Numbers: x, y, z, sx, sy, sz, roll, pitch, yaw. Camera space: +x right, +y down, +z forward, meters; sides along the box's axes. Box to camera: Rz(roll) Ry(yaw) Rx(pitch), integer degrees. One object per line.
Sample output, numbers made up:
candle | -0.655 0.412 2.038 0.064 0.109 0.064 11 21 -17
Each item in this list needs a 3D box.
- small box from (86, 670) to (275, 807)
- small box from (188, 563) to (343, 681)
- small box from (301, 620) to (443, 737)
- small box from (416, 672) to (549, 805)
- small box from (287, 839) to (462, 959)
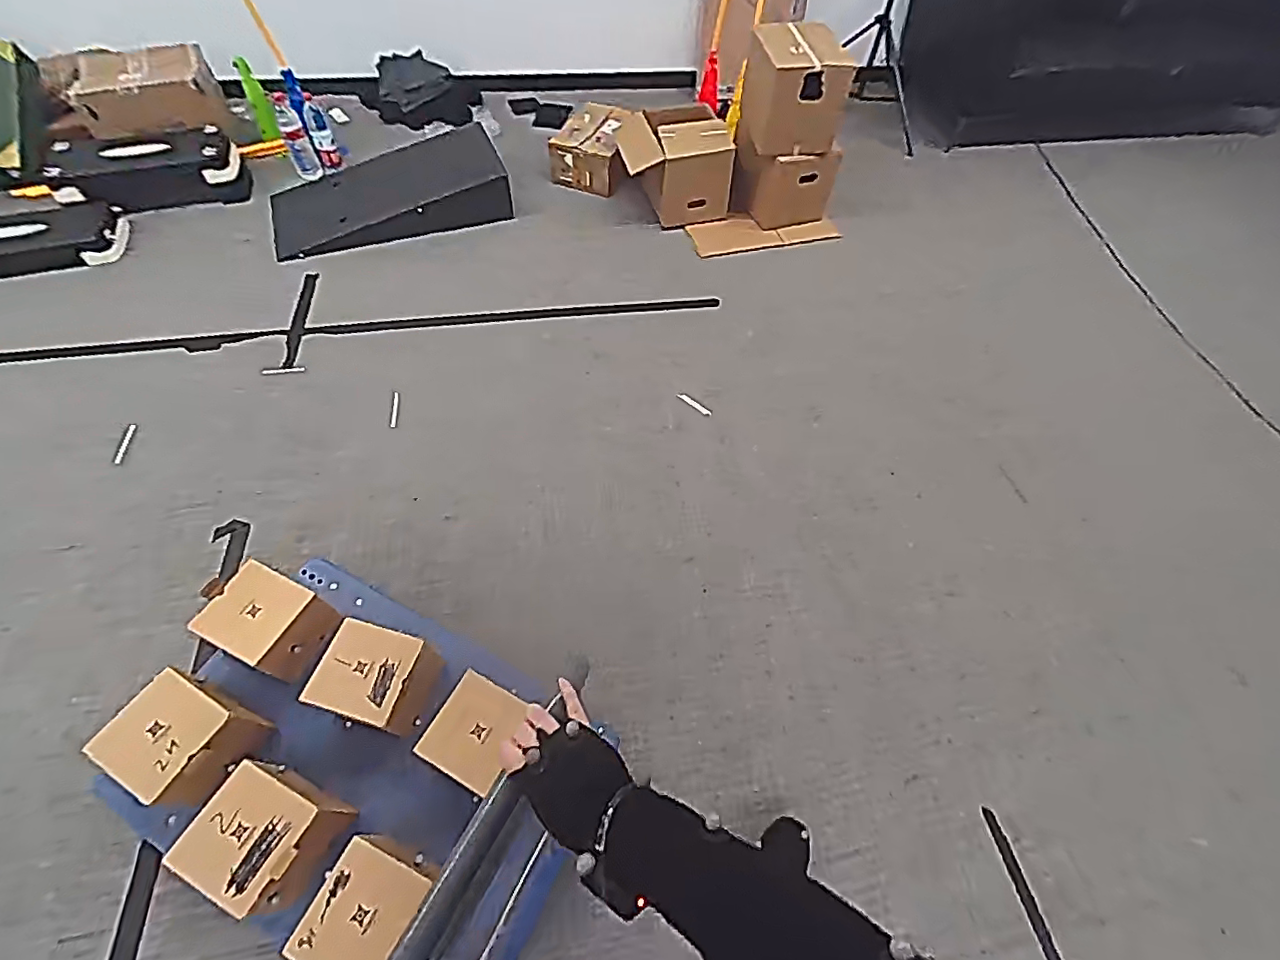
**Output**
small box | -0.851 0.493 1.020 0.179 0.176 0.168 27 60 12
small box | -0.778 0.309 1.147 0.179 0.176 0.168 22 59 10
small box | -0.528 0.409 1.100 0.179 0.176 0.168 14 57 6
small box | -0.293 0.506 1.056 0.179 0.176 0.168 25 58 12
small box | -0.425 0.725 0.902 0.179 0.176 0.168 22 57 10
